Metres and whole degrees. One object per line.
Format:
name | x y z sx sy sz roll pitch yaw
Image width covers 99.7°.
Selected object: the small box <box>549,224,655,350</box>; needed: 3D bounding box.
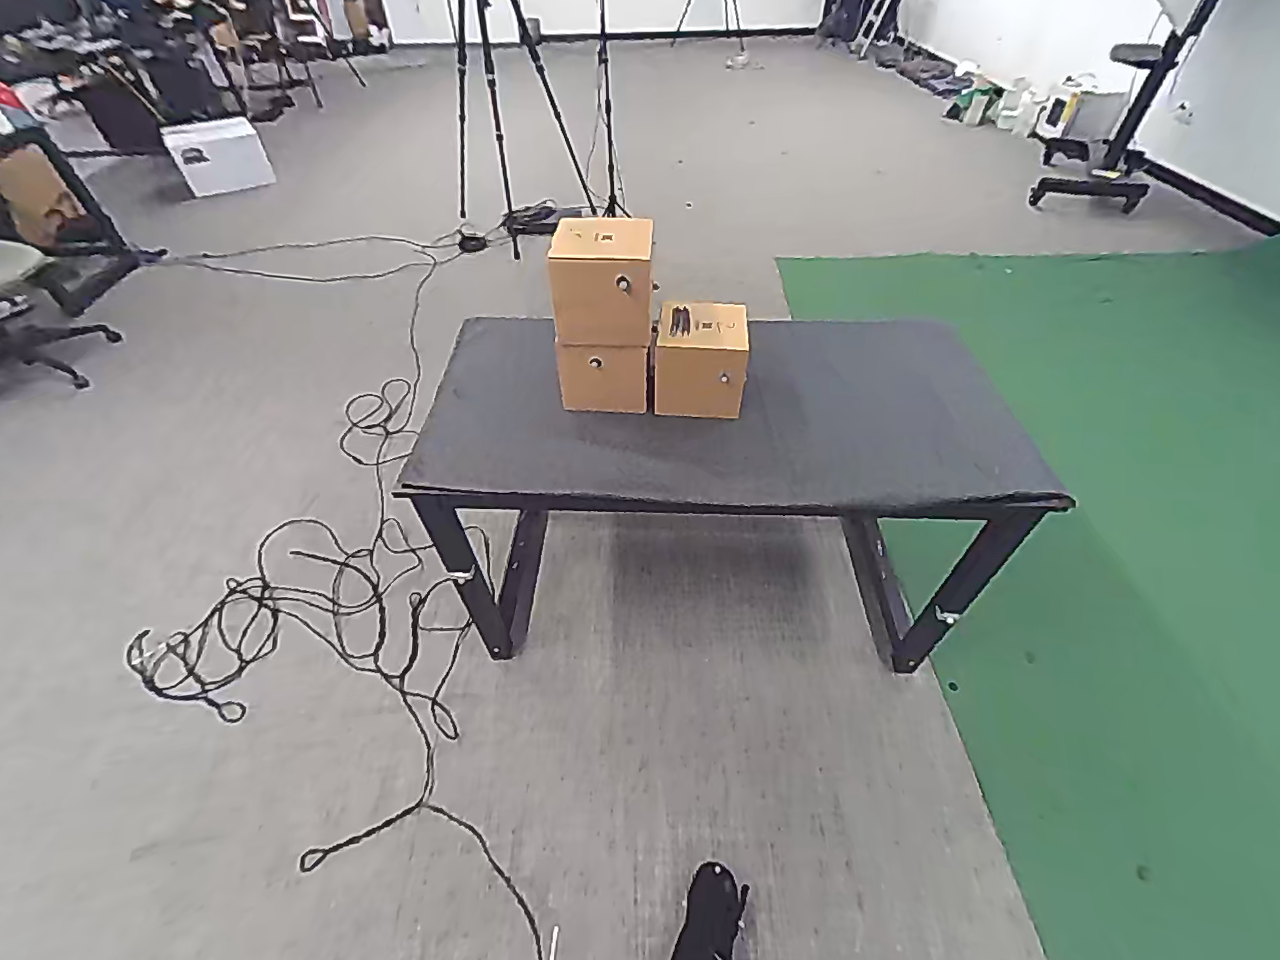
small box | -0.064 -0.360 1.016 0.179 0.176 0.168 2 46 2
